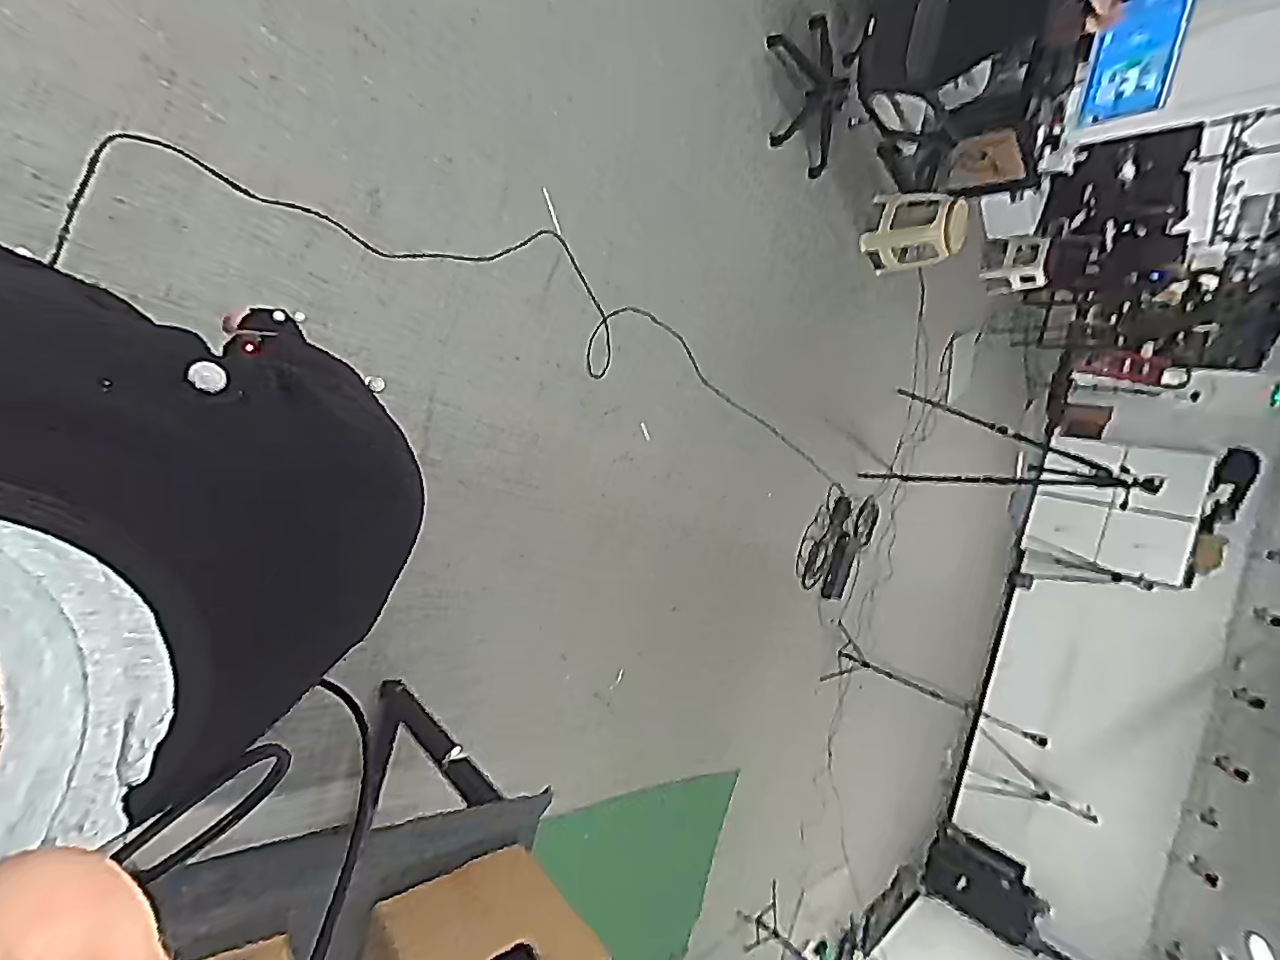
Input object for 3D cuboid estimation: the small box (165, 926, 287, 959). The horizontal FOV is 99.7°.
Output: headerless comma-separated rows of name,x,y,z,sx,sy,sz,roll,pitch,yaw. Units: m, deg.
small box,-0.608,0.800,0.765,0.168,0.176,0.179,21,87,-48
